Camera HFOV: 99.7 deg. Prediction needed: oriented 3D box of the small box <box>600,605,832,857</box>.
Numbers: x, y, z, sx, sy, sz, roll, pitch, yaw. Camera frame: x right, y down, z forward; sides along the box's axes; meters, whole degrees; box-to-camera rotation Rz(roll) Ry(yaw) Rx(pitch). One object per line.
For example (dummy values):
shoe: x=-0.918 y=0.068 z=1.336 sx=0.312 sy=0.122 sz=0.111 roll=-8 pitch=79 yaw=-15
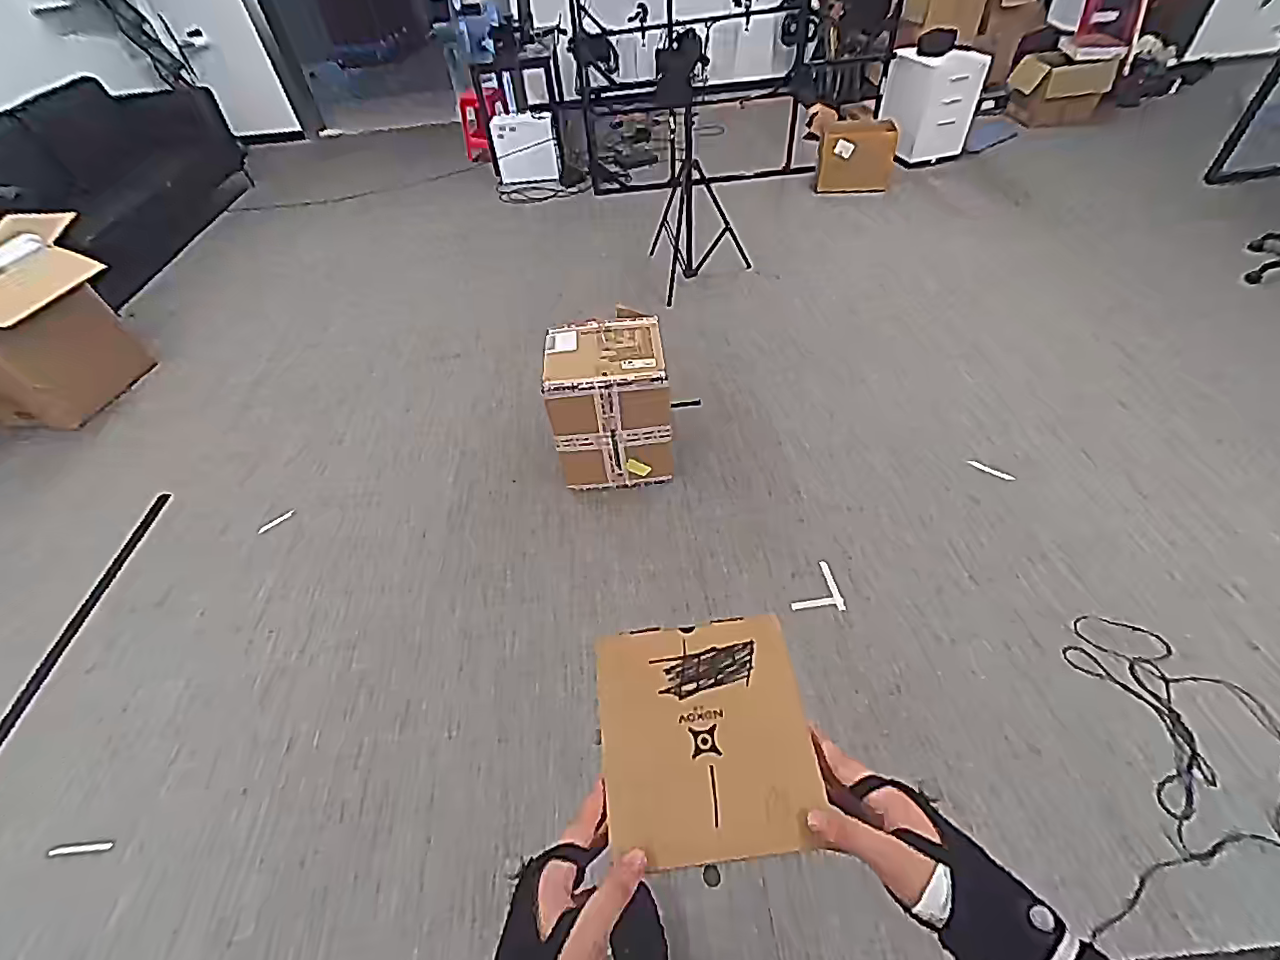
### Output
small box: x=0.055 y=0.238 z=0.506 sx=0.168 sy=0.176 sz=0.179 roll=-7 pitch=55 yaw=-1
